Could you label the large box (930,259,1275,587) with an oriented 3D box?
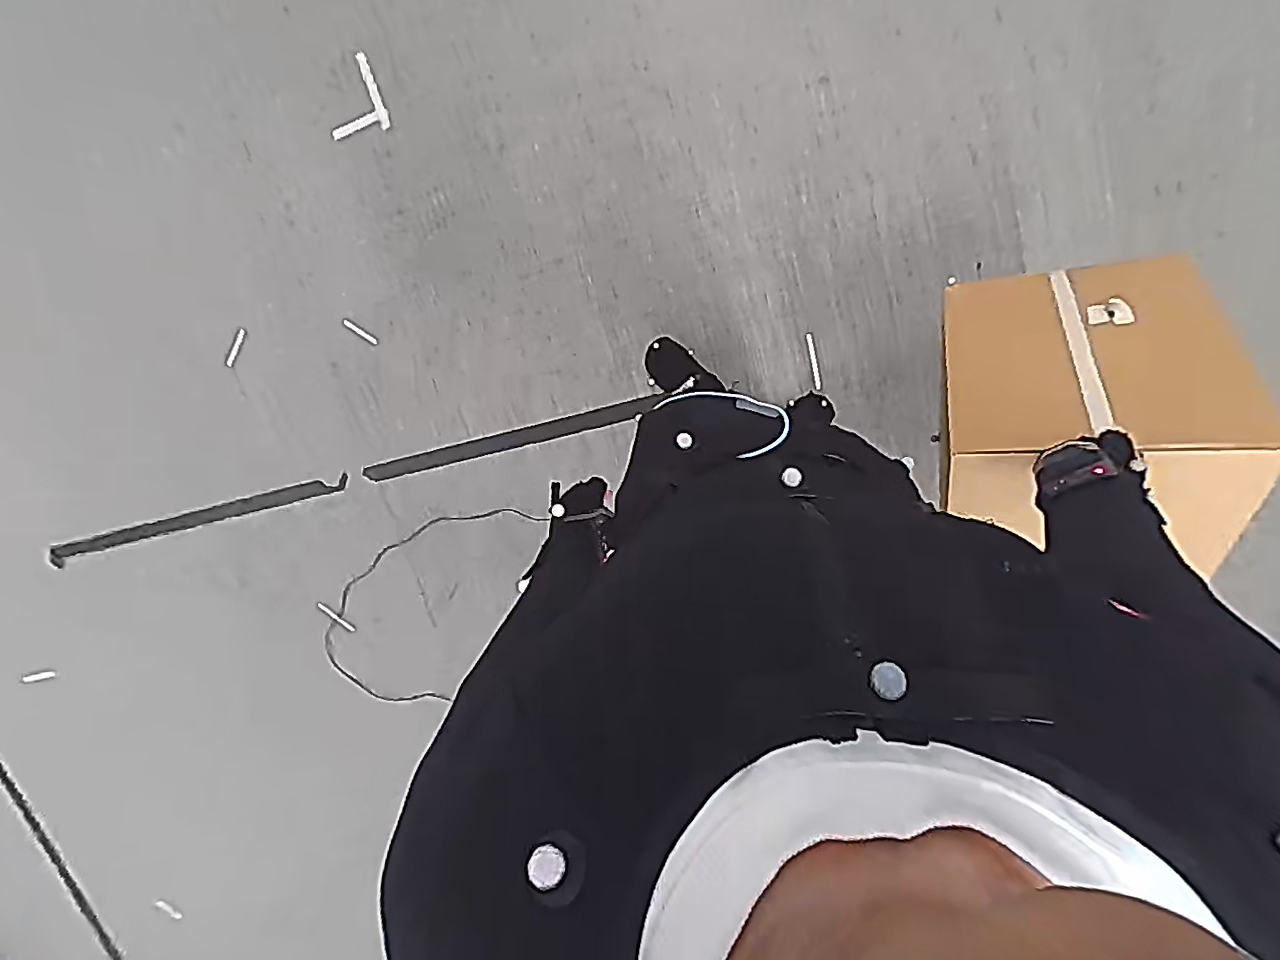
[{"bbox_3d":[0.644,-0.084,0.856,0.320,0.408,0.320,0,137,25],"label":"large box"}]
